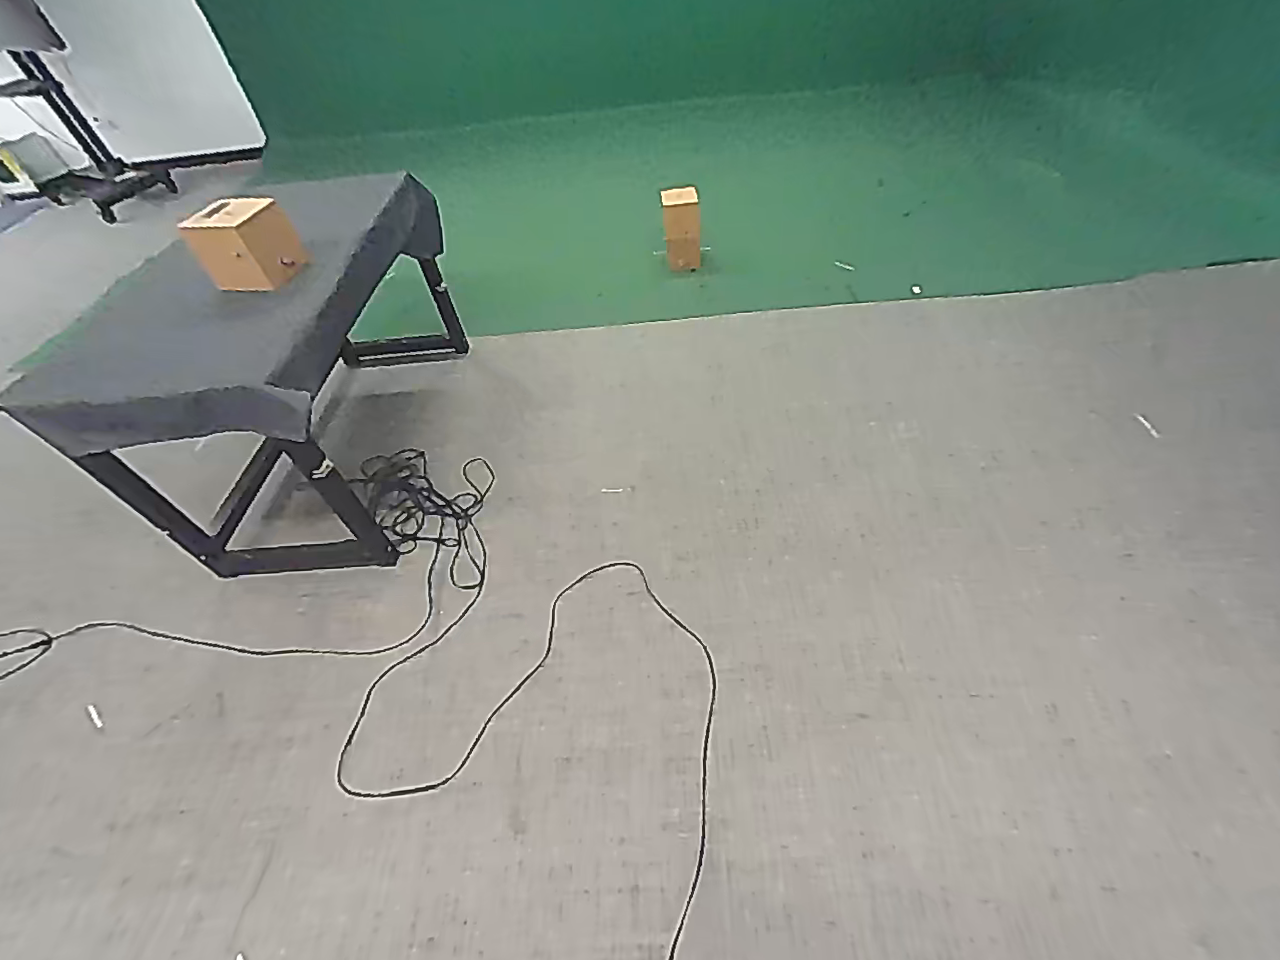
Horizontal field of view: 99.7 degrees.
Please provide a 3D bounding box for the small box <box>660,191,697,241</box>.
[{"bbox_3d":[0.188,-1.275,2.624,0.168,0.176,0.179,-6,47,3],"label":"small box"}]

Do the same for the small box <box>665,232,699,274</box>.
[{"bbox_3d":[0.212,-1.171,2.748,0.168,0.176,0.179,-5,49,4],"label":"small box"}]
